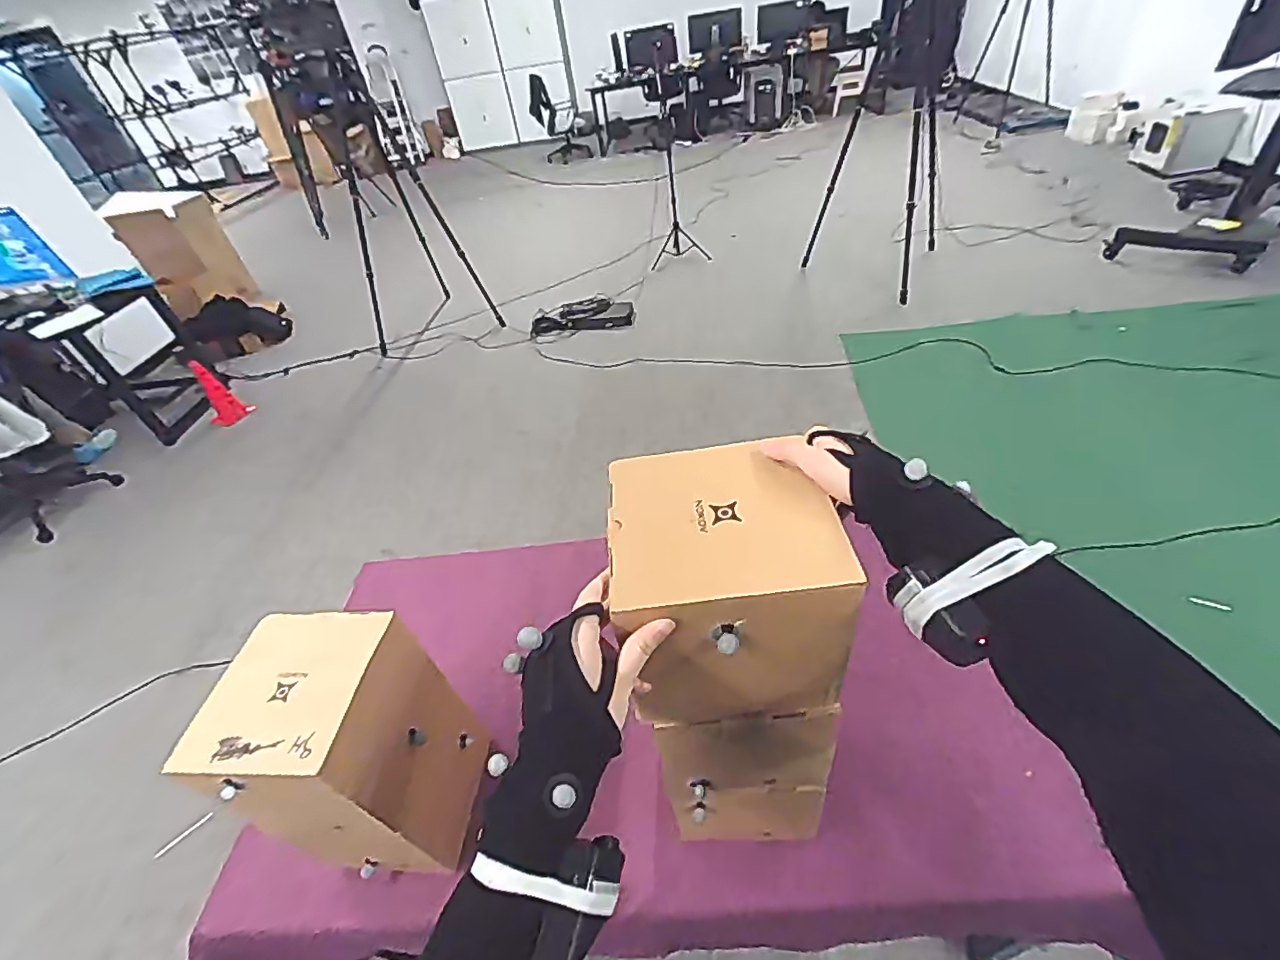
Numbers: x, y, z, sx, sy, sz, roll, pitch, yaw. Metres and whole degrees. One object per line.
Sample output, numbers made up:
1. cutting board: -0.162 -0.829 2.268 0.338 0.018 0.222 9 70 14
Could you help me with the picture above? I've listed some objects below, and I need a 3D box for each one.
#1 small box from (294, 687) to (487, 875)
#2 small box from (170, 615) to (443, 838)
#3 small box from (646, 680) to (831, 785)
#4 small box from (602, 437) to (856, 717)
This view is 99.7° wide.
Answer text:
1. small box: -0.321 0.396 0.719 0.168 0.176 0.179 -4 42 9
2. small box: -0.347 0.274 0.611 0.168 0.176 0.179 -5 41 10
3. small box: 0.098 0.209 0.583 0.168 0.176 0.179 -7 40 5
4. small box: 0.069 0.087 0.478 0.179 0.176 0.168 -9 41 4
